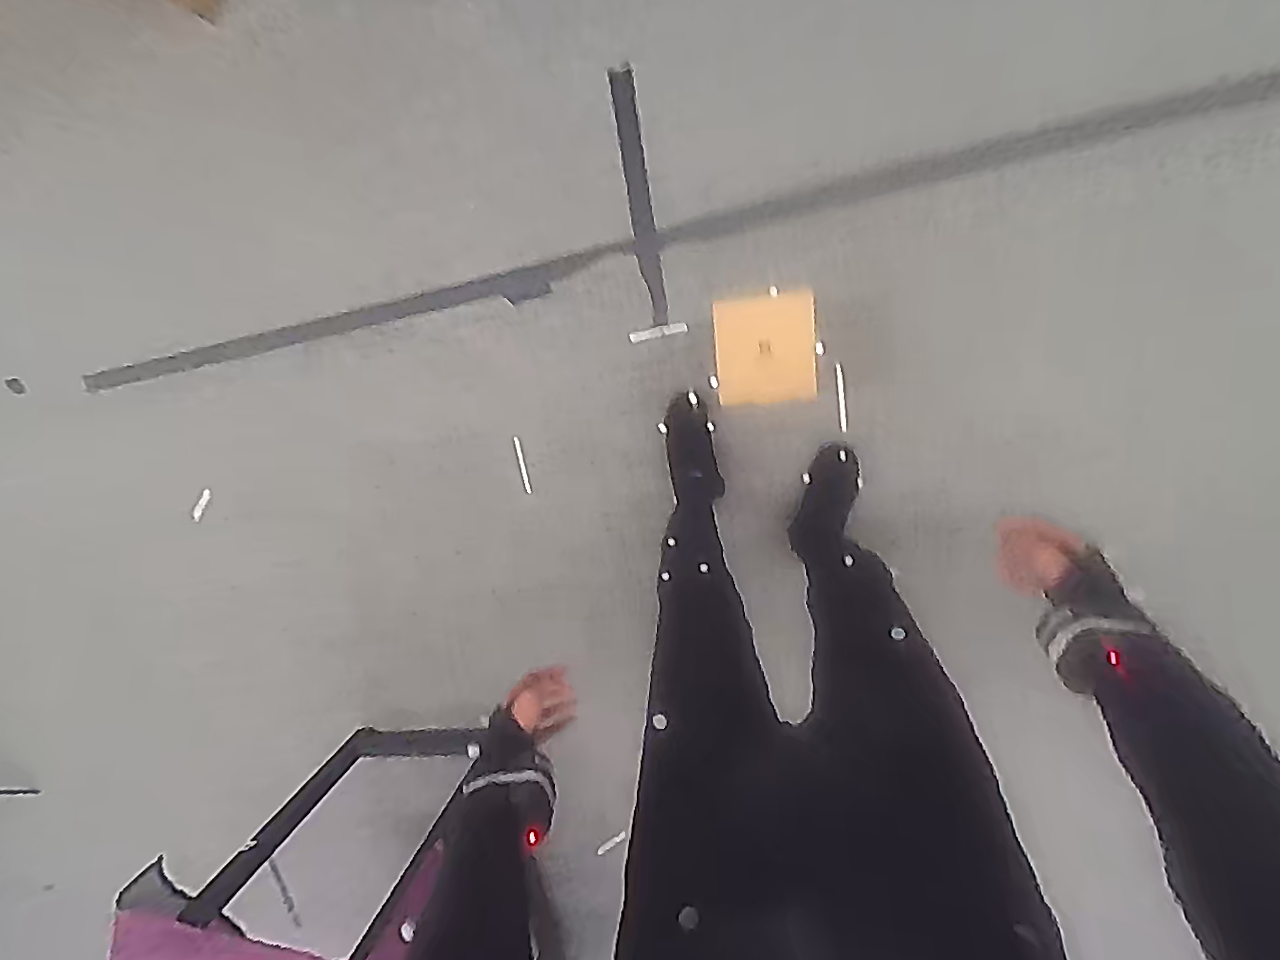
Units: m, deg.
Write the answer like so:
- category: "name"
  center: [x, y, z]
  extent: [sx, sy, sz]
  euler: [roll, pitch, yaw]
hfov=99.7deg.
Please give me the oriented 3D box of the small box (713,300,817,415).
- category: "small box"
  center: [0.224, -0.224, 0.985]
  extent: [0.168, 0.176, 0.179]
  euler: [-5, 106, 12]
